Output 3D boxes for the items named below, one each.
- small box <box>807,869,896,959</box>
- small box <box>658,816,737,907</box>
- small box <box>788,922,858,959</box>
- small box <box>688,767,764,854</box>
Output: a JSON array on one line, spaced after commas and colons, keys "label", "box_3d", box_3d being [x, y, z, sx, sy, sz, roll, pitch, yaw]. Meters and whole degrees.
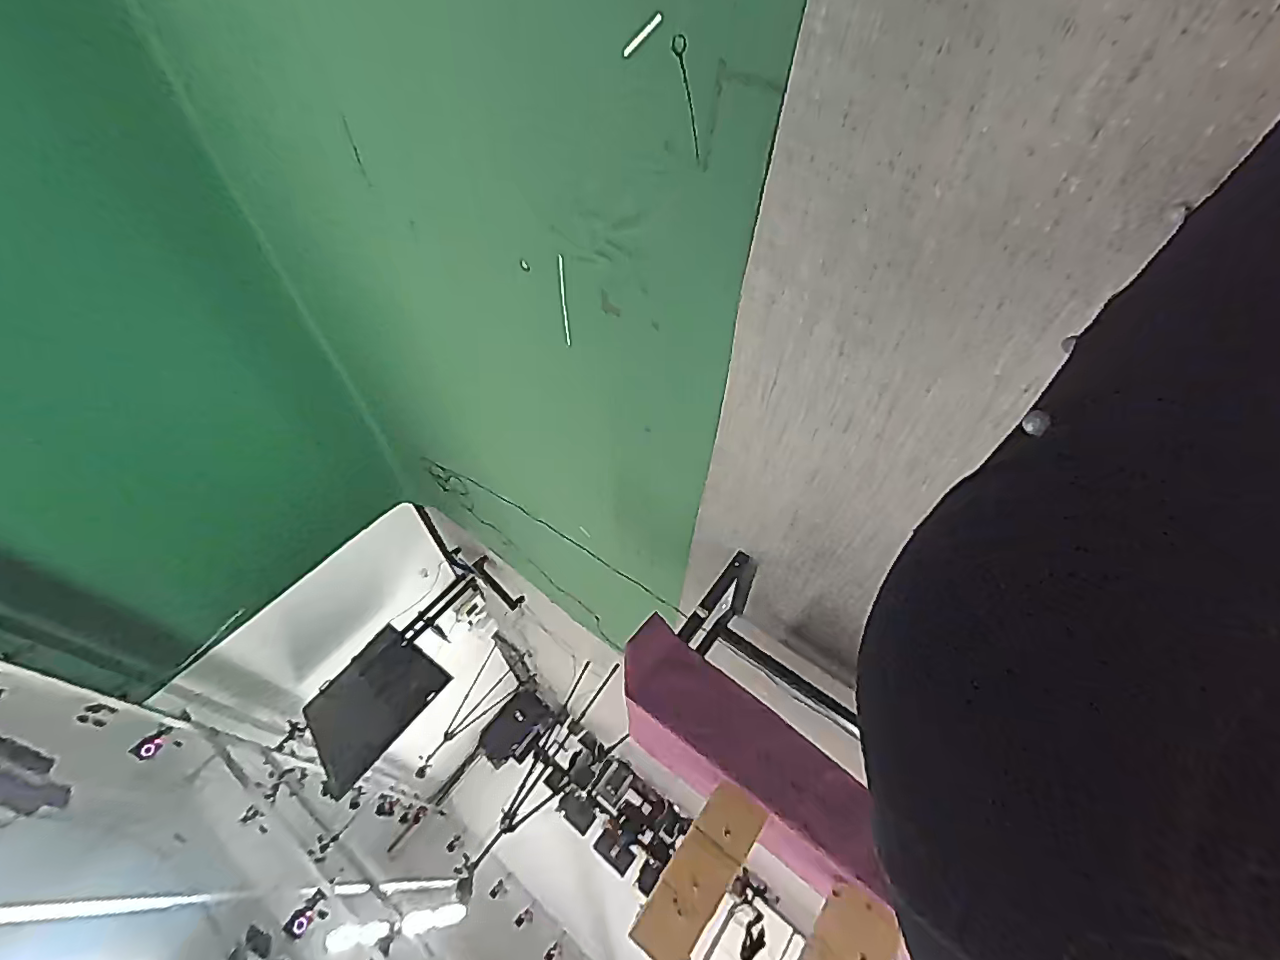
[{"label": "small box", "box_3d": [0.622, 1.284, 1.590, 0.168, 0.176, 0.179, 32, 151, 20]}, {"label": "small box", "box_3d": [0.175, 1.168, 1.669, 0.179, 0.176, 0.168, 31, 149, 21]}, {"label": "small box", "box_3d": [0.521, 1.389, 1.514, 0.179, 0.176, 0.168, 33, 151, 19]}, {"label": "small box", "box_3d": [0.277, 1.066, 1.743, 0.179, 0.176, 0.168, 33, 150, 21]}]
